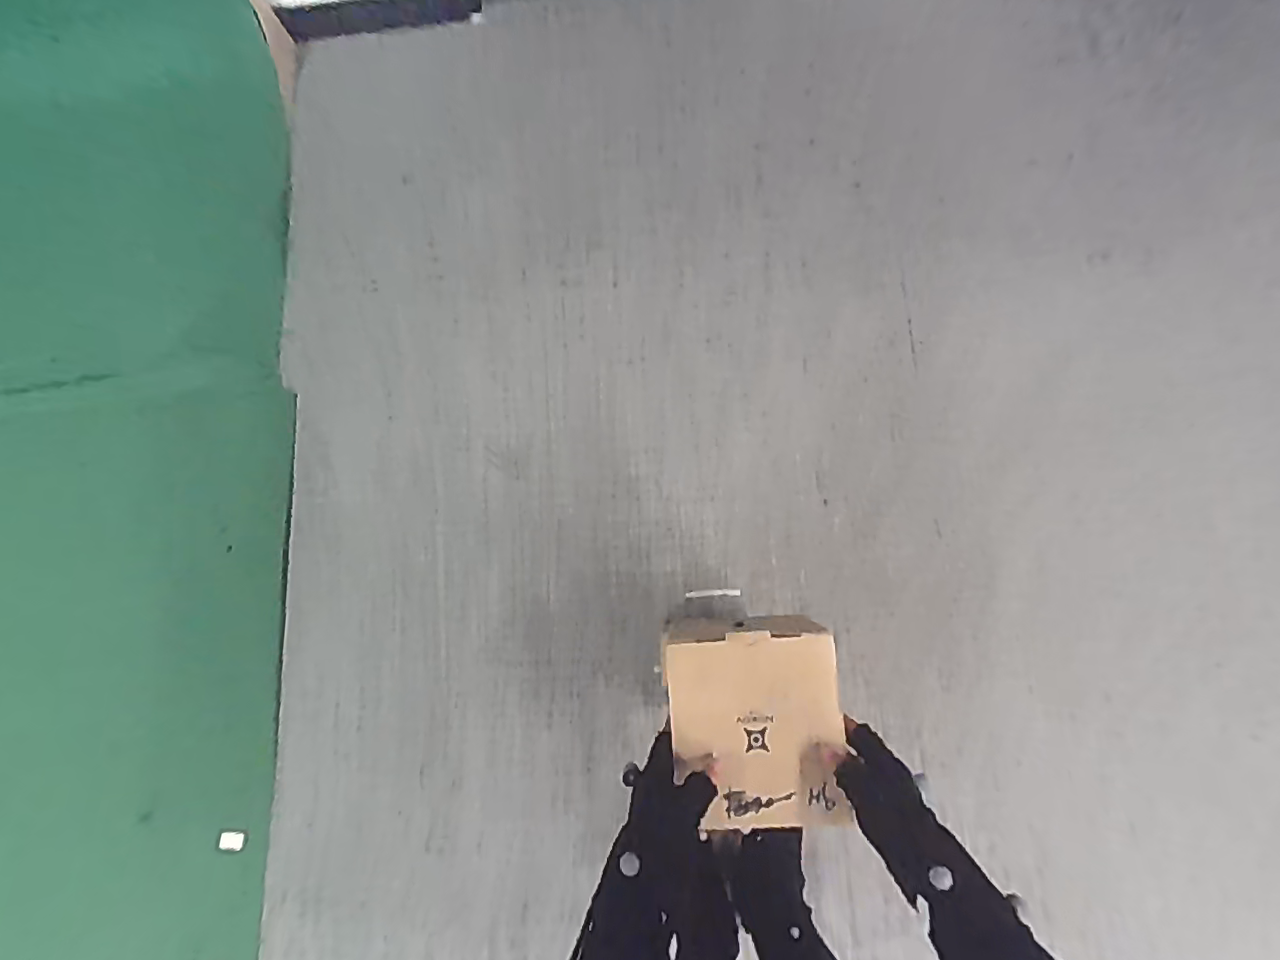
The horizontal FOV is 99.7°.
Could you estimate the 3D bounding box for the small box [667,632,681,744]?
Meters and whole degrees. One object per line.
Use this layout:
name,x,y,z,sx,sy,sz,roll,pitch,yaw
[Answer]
small box,0.137,0.362,0.968,0.179,0.176,0.168,-2,78,5

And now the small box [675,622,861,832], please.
small box,0.127,0.255,0.598,0.168,0.176,0.179,-5,82,6
